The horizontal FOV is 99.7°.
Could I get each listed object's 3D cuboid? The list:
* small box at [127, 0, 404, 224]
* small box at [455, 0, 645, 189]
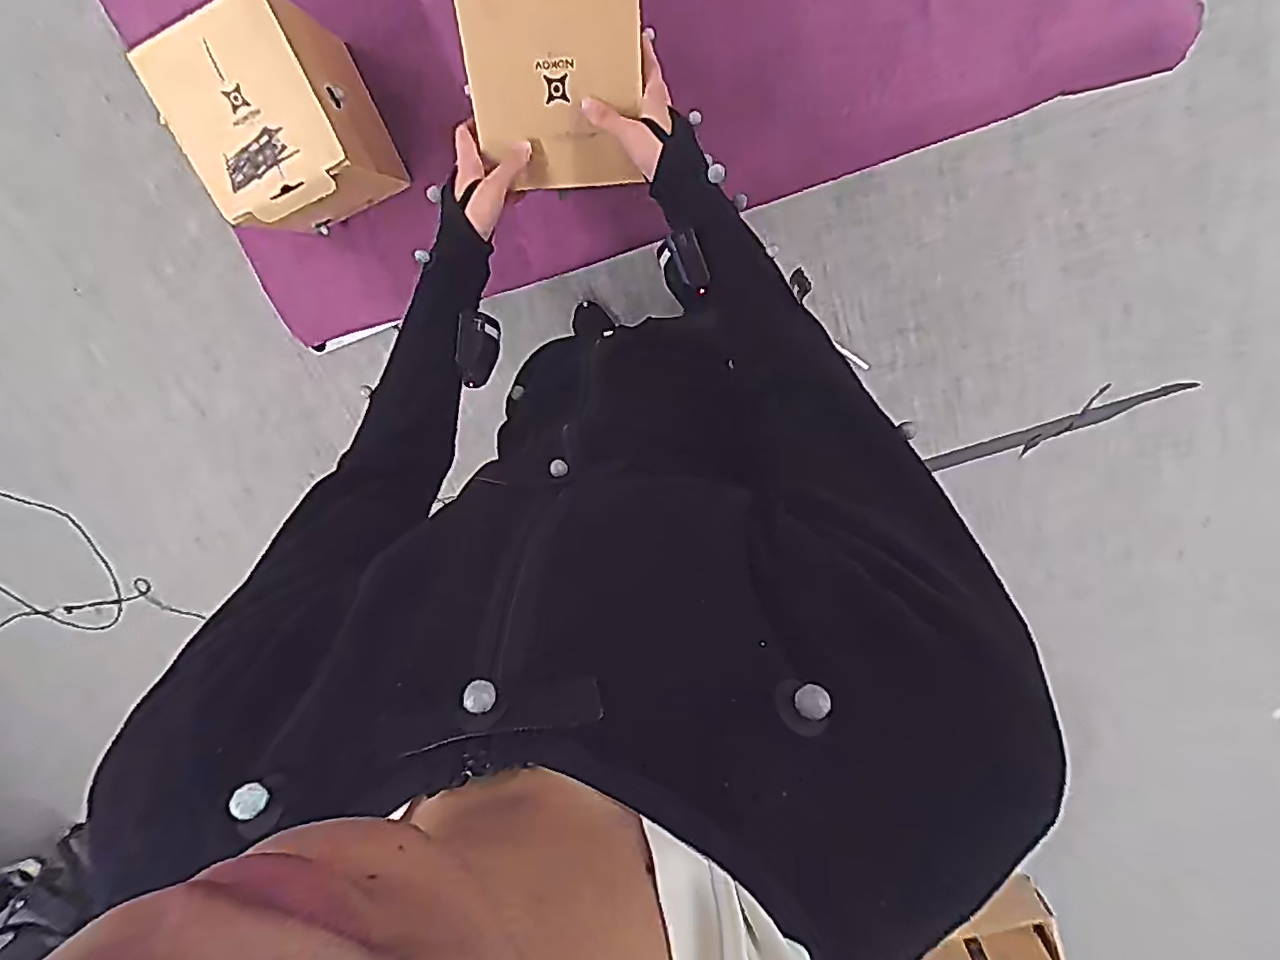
[{"bbox_3d":[-0.419,-0.424,0.645,0.168,0.176,0.179,-21,109,9],"label":"small box"},{"bbox_3d":[-0.082,-0.414,0.576,0.168,0.176,0.179,-3,120,1],"label":"small box"}]
